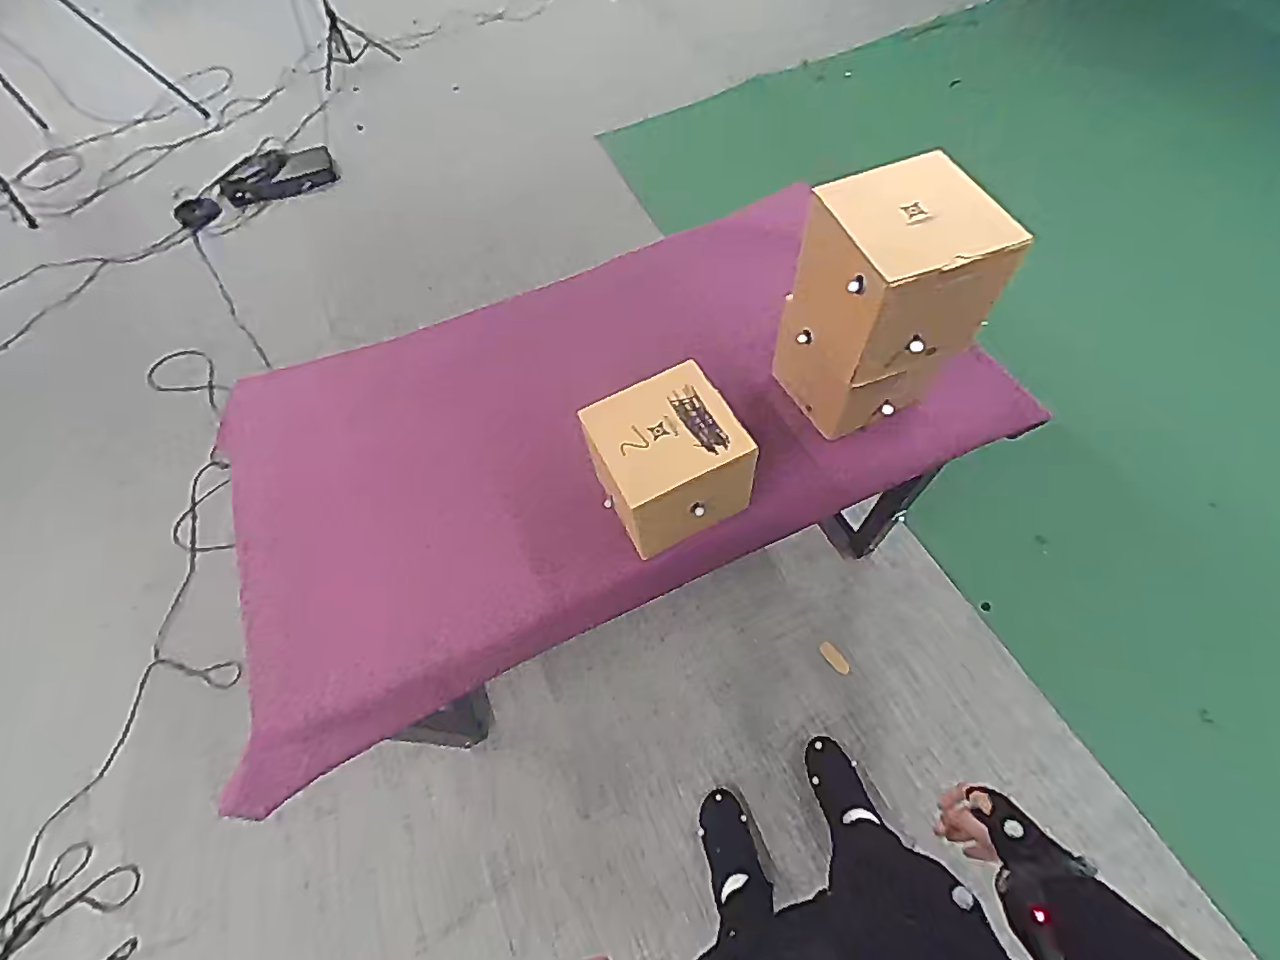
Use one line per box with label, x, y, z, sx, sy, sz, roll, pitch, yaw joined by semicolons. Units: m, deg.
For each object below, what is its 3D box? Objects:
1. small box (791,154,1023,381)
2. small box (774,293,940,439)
small box;0.302;-0.254;0.662;0.168;0.176;0.179;-19;61;-4
small box;0.322;-0.194;0.815;0.179;0.176;0.168;-25;60;-8
